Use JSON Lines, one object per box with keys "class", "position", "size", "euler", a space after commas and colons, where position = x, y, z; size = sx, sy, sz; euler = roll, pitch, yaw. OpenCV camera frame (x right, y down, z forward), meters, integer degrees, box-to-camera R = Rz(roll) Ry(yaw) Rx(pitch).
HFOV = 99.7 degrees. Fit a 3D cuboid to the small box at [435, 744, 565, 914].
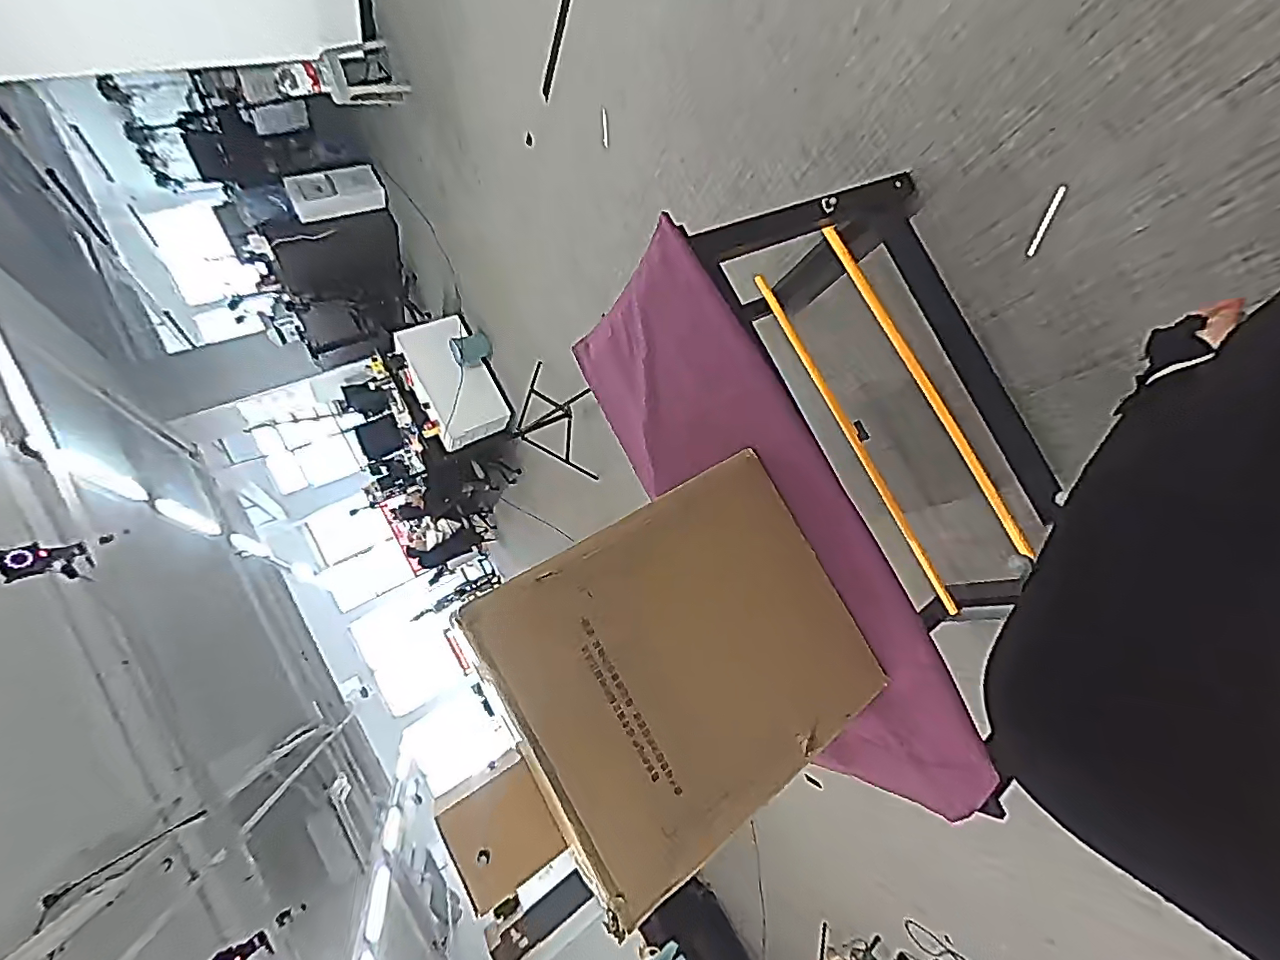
{"class": "small box", "position": [-0.256, 0.622, 0.991], "size": [0.179, 0.176, 0.168], "euler": [61, 154, 7]}
